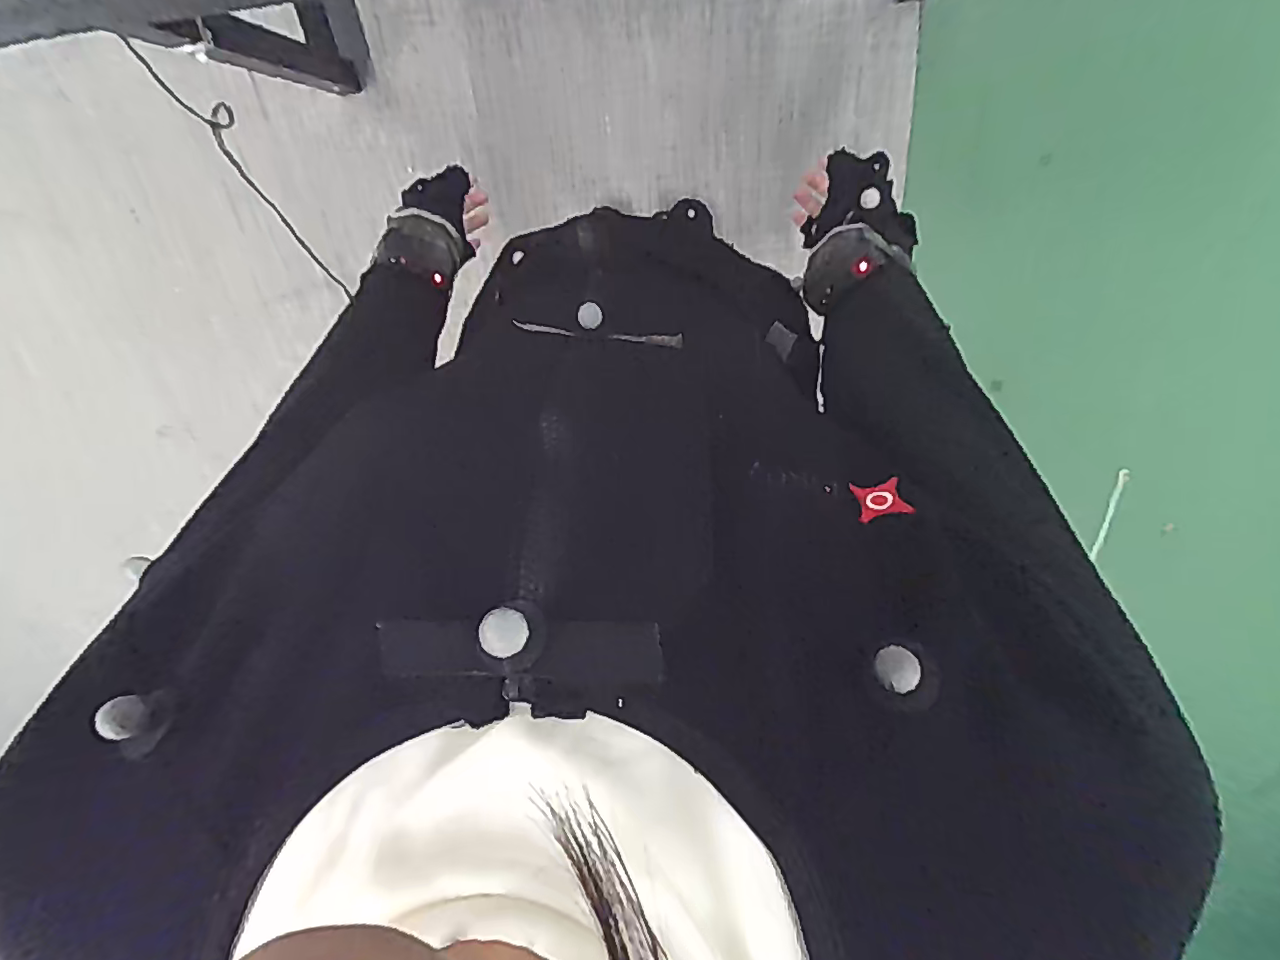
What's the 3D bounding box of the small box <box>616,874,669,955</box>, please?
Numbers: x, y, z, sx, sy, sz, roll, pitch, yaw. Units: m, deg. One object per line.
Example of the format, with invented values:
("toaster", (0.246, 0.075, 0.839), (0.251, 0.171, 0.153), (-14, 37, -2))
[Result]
("small box", (0.011, 1.533, 1.914), (0.179, 0.176, 0.168), (0, 114, 2))
